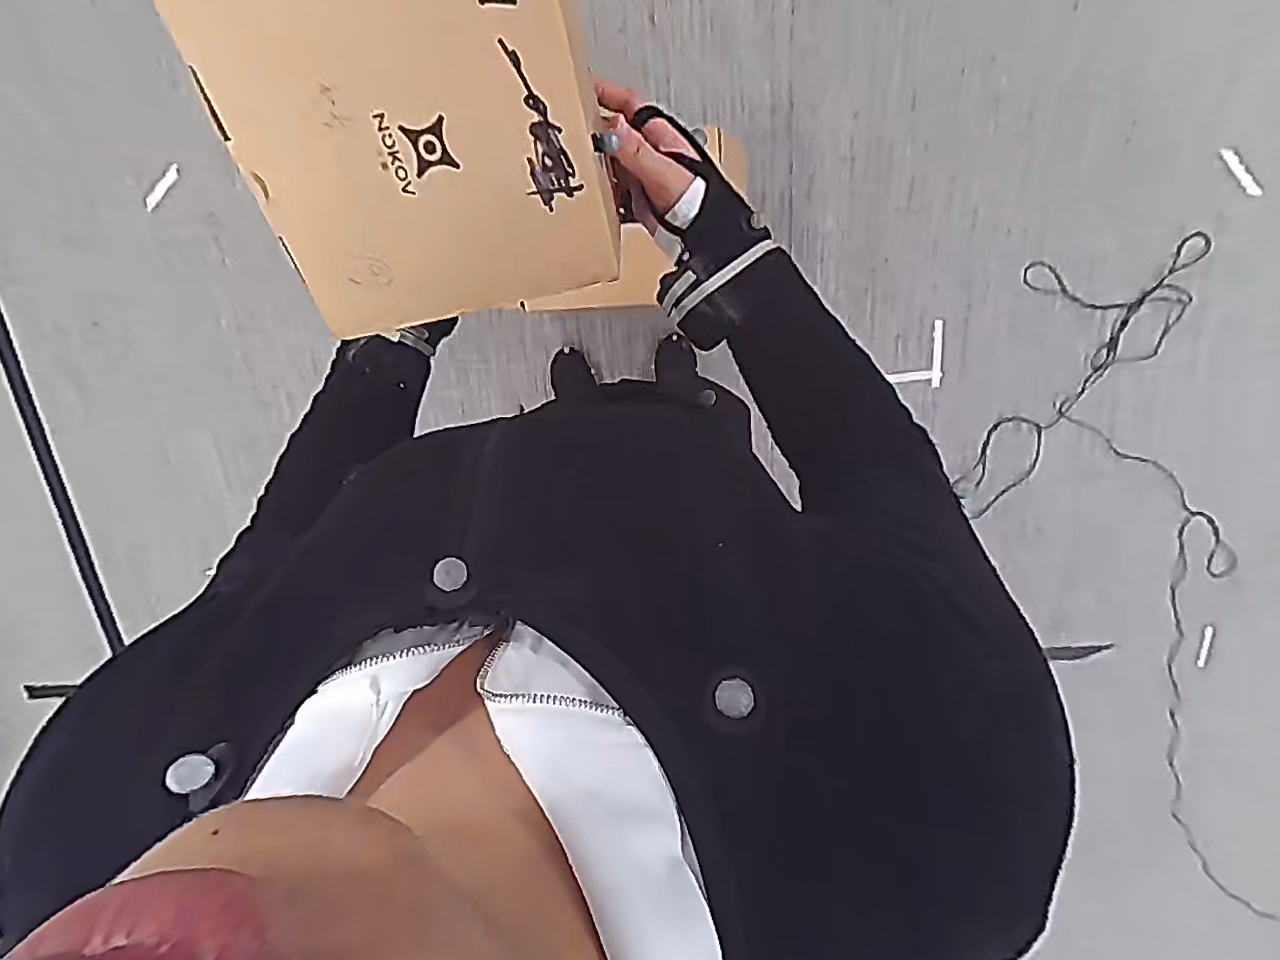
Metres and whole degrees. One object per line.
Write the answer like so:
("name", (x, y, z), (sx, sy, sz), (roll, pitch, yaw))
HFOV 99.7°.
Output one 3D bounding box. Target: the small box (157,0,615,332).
("small box", (-0.117, -0.212, 0.339), (0.179, 0.176, 0.168), (-10, 124, 5))
